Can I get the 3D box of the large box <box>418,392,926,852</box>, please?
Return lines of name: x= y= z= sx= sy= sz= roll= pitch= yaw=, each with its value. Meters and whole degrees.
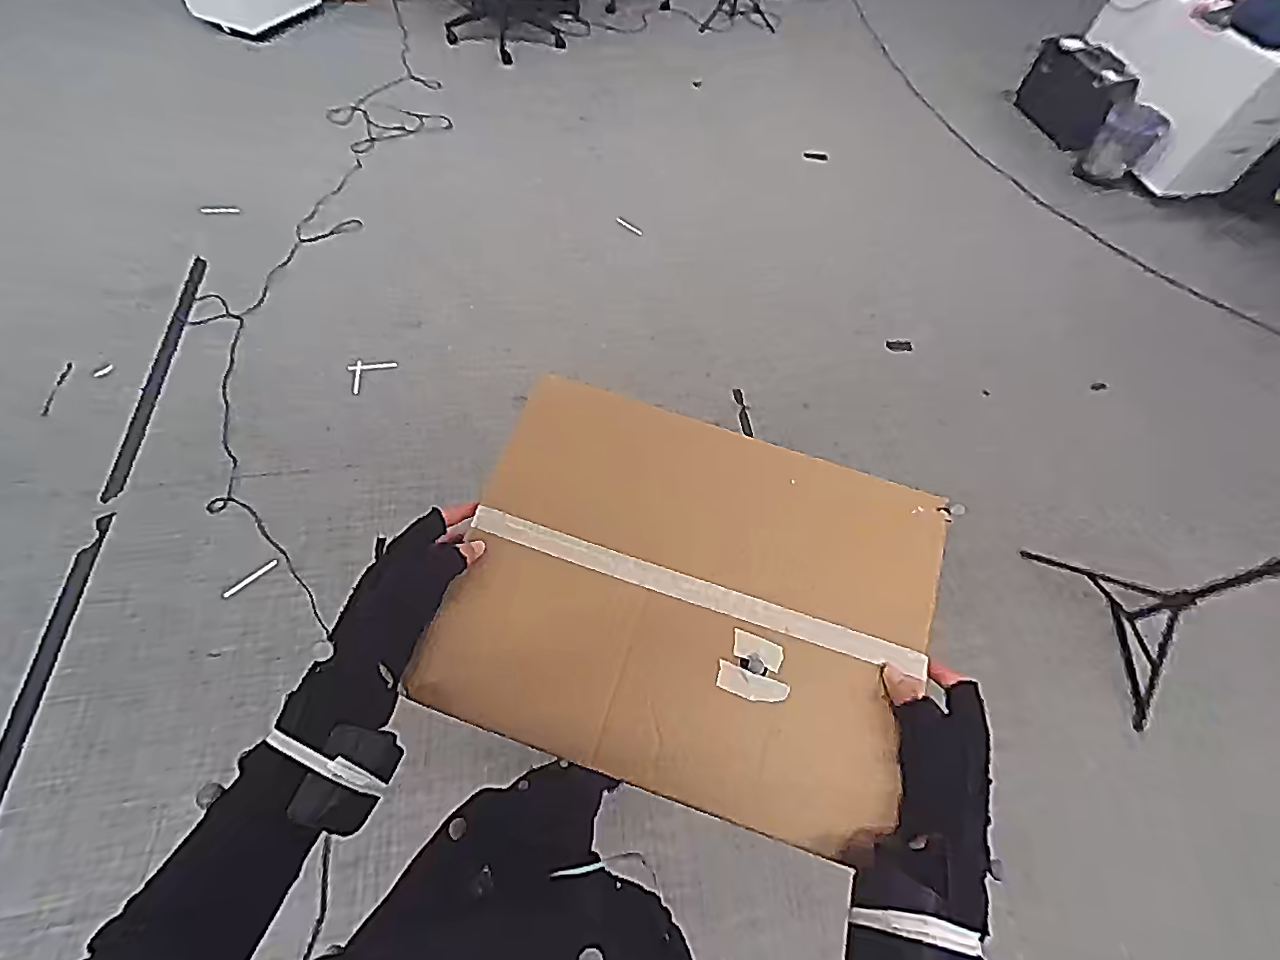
large box: x=0.038 y=0.151 z=0.628 sx=0.408 sy=0.320 sz=0.320 roll=18 pitch=71 yaw=4
